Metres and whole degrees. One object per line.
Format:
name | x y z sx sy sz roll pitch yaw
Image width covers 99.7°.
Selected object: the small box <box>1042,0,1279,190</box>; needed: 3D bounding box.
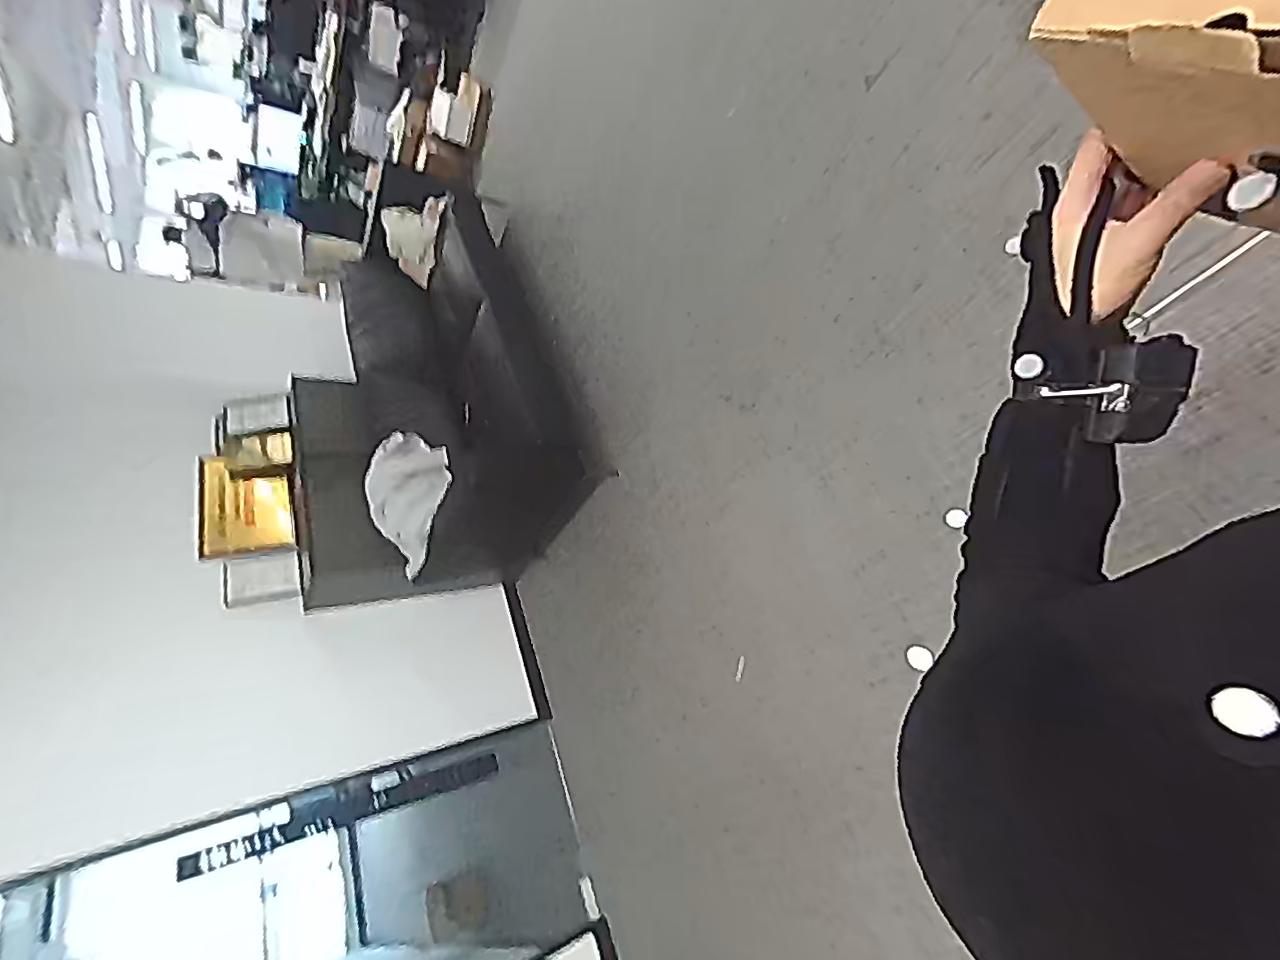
small box | 0.312 -0.211 0.189 0.179 0.176 0.168 -59 35 29
